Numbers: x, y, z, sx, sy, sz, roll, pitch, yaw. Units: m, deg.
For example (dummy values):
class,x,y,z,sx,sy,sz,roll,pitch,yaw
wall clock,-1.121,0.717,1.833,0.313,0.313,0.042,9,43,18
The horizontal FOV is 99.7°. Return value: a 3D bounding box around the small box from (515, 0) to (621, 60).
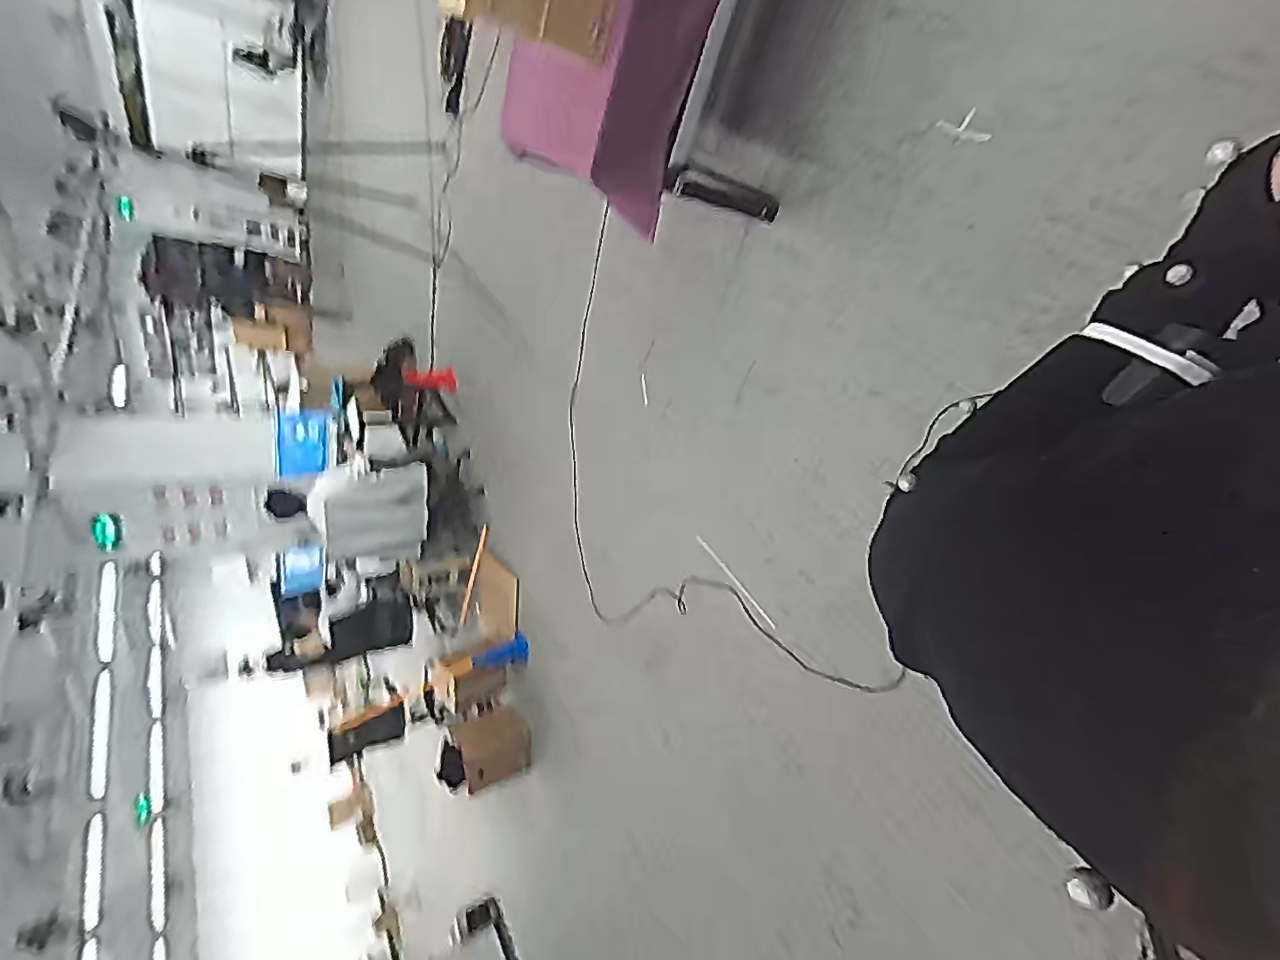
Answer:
class,x,y,z,sx,sy,sz,roll,pitch,yaw
small box,-0.163,-1.101,1.241,0.179,0.176,0.168,49,132,35
